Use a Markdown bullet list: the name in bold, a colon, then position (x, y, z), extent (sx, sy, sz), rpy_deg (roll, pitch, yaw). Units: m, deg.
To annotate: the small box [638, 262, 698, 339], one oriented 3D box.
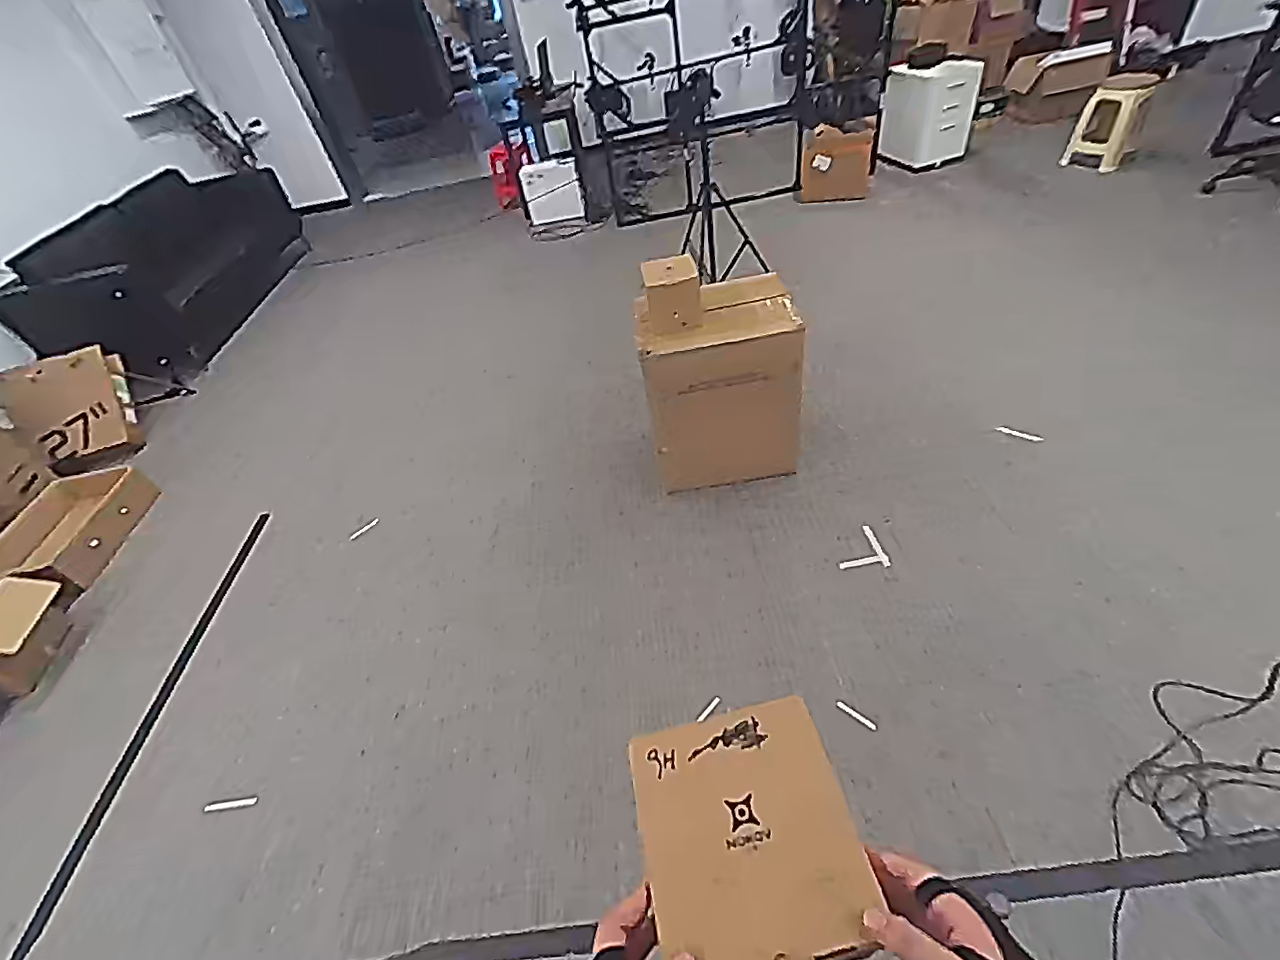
- **small box**: position (0.092, -0.584, 1.762), extent (0.168, 0.176, 0.179), rpy_deg (-11, 45, 2)
